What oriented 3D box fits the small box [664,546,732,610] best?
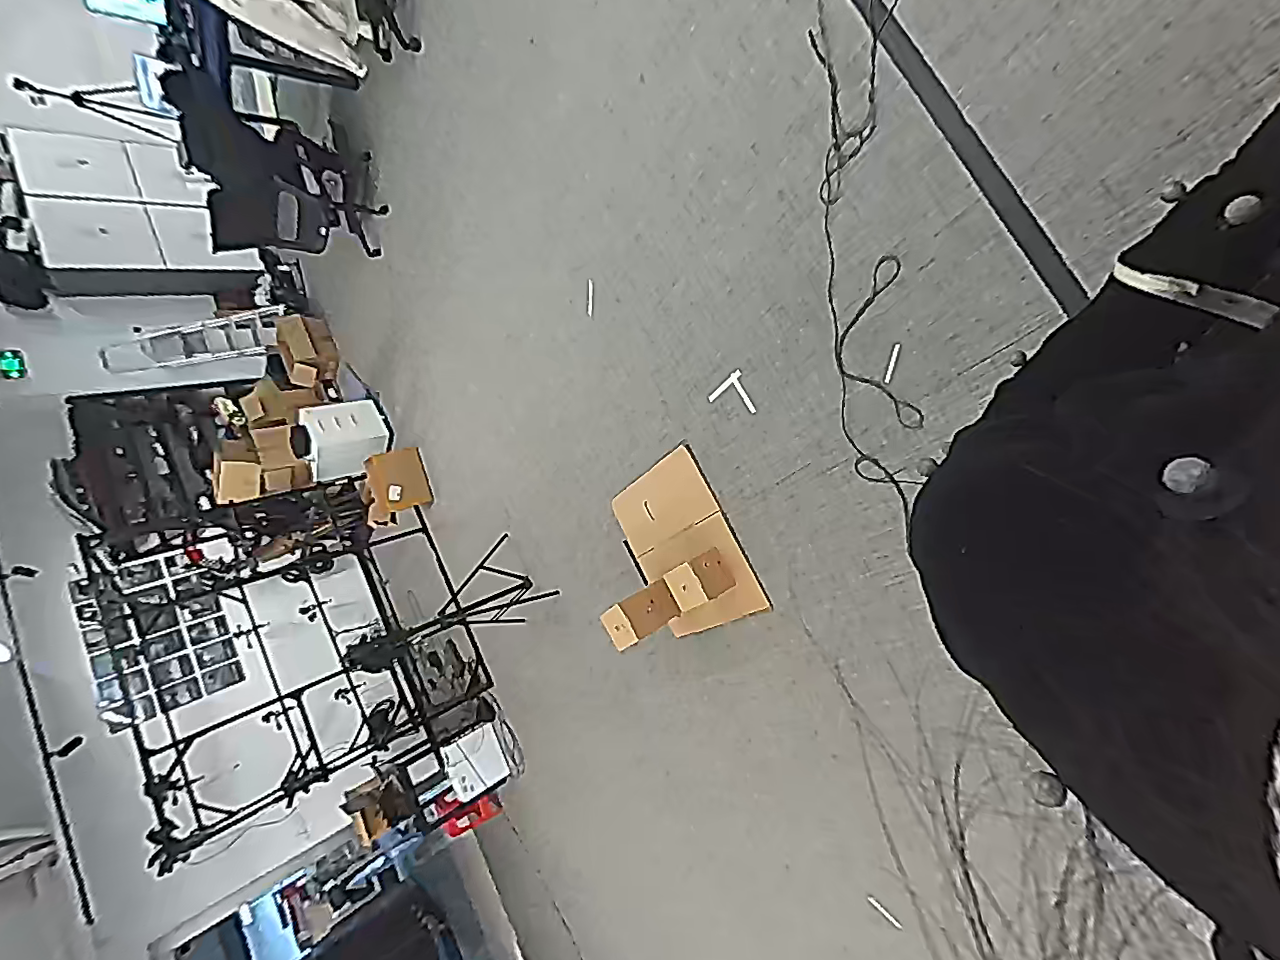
[{"bbox_3d":[0.233,0.375,2.093,0.179,0.176,0.168,-42,72,49],"label":"small box"}]

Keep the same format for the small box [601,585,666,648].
[{"bbox_3d":[-0.024,0.554,2.196,0.168,0.176,0.179,59,139,13],"label":"small box"}]

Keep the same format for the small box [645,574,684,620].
[{"bbox_3d":[0.095,0.508,2.301,0.168,0.176,0.179,58,138,15],"label":"small box"}]
